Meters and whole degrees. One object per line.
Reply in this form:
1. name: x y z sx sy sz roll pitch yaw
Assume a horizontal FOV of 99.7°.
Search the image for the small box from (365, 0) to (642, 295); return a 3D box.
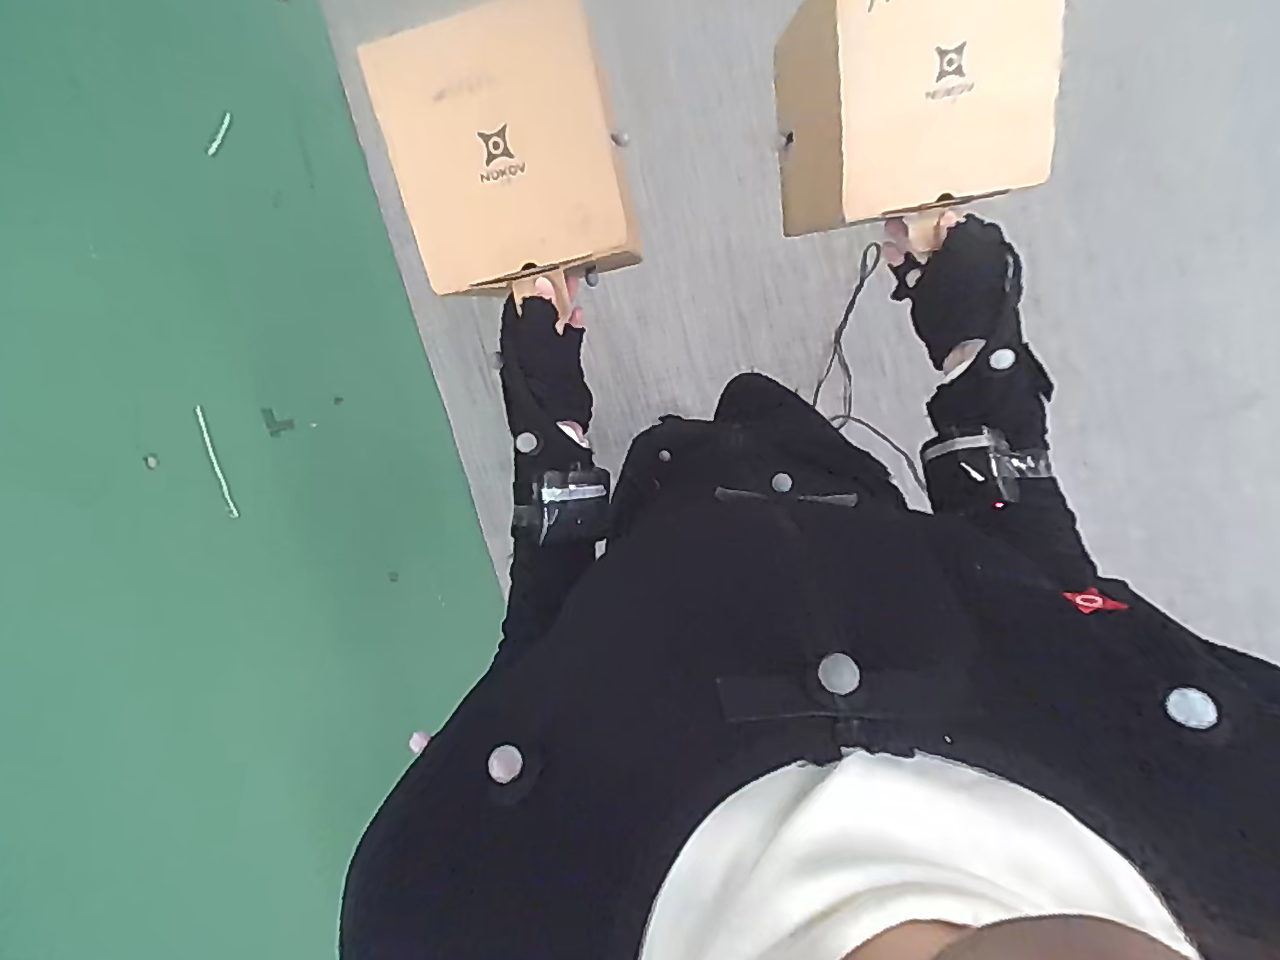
1. small box: -0.100 -0.275 0.489 0.168 0.176 0.179 -12 106 9
